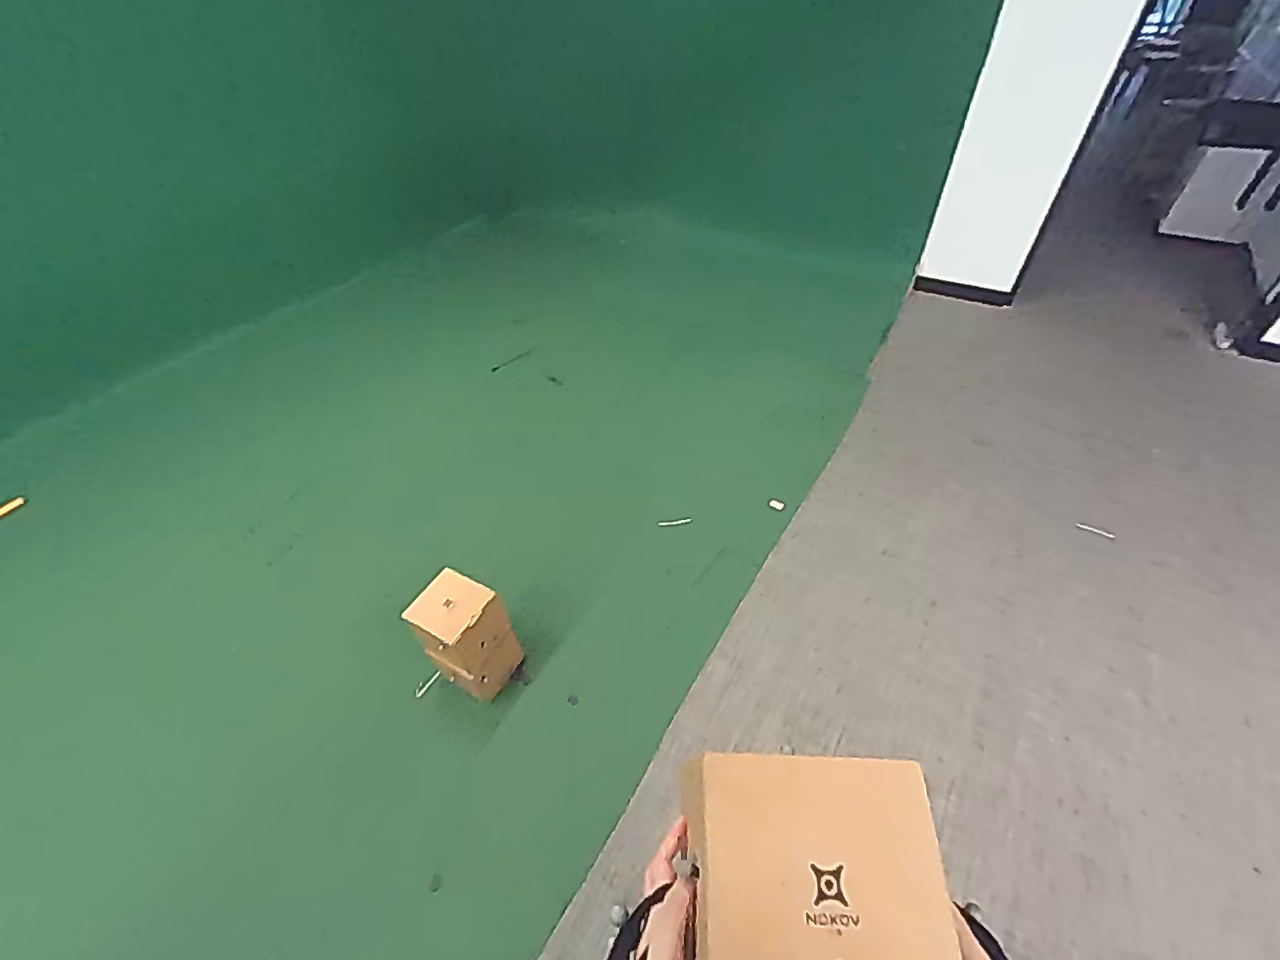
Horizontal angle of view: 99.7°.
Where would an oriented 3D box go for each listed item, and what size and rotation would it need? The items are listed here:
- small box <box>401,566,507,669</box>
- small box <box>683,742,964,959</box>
[{"bbox_3d":[-0.478,0.362,1.411,0.179,0.176,0.168,20,50,21],"label":"small box"},{"bbox_3d":[0.124,0.318,0.428,0.168,0.176,0.179,3,59,0],"label":"small box"}]
